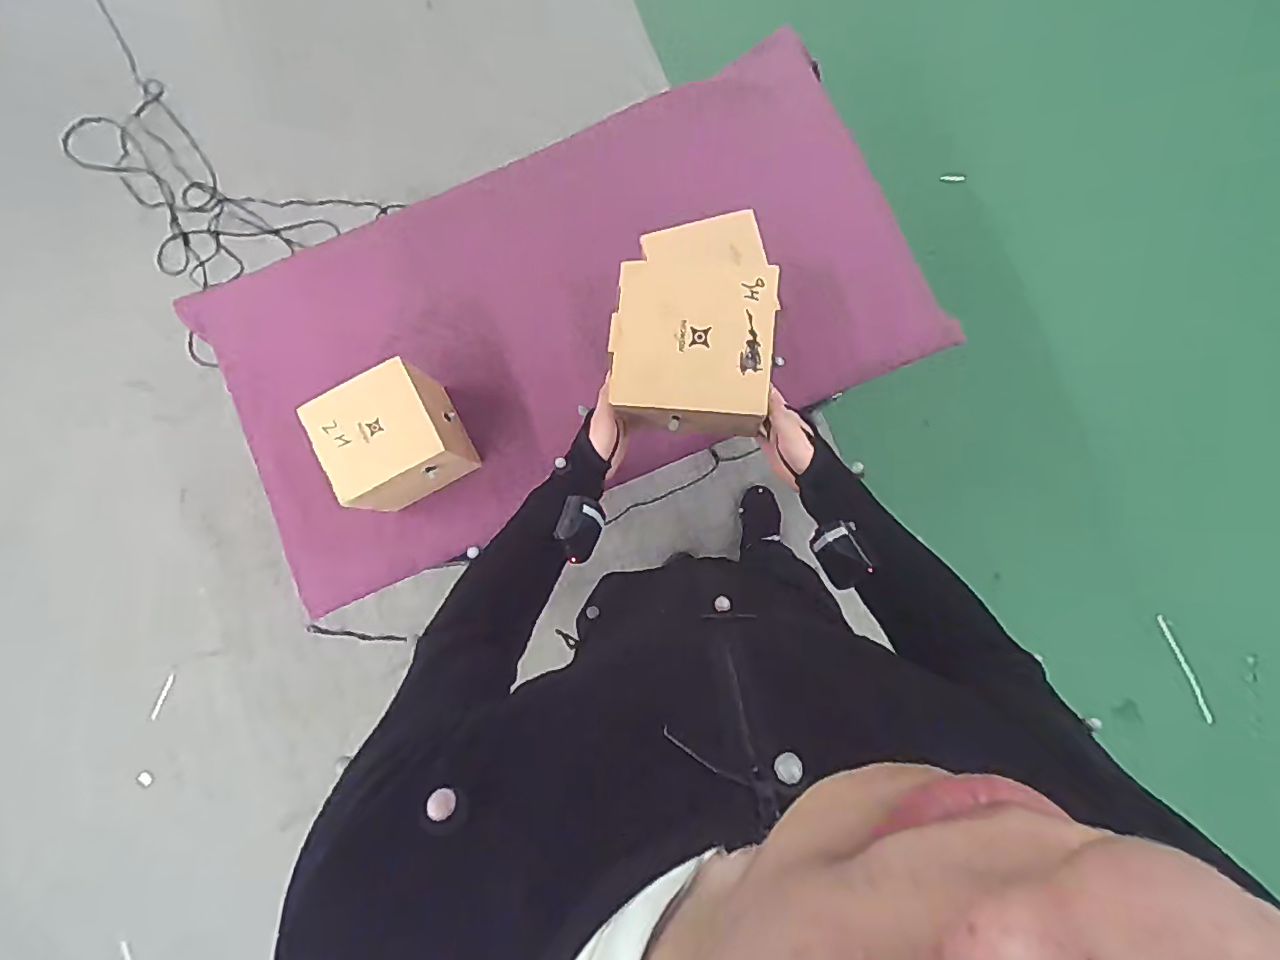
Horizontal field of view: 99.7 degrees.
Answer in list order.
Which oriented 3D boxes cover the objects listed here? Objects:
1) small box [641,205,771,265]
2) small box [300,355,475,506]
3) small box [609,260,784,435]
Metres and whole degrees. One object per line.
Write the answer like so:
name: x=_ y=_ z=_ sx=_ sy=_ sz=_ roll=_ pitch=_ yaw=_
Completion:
small box: x=0.108 y=-0.301 z=0.870 sx=0.179 sy=0.176 sz=0.168 roll=-13 pitch=84 yaw=1
small box: x=-0.387 y=-0.070 z=0.869 sx=0.179 sy=0.176 sz=0.168 roll=-28 pitch=84 yaw=0
small box: x=0.072 y=-0.151 z=0.662 sx=0.179 sy=0.176 sz=0.168 roll=6 pitch=89 yaw=9
